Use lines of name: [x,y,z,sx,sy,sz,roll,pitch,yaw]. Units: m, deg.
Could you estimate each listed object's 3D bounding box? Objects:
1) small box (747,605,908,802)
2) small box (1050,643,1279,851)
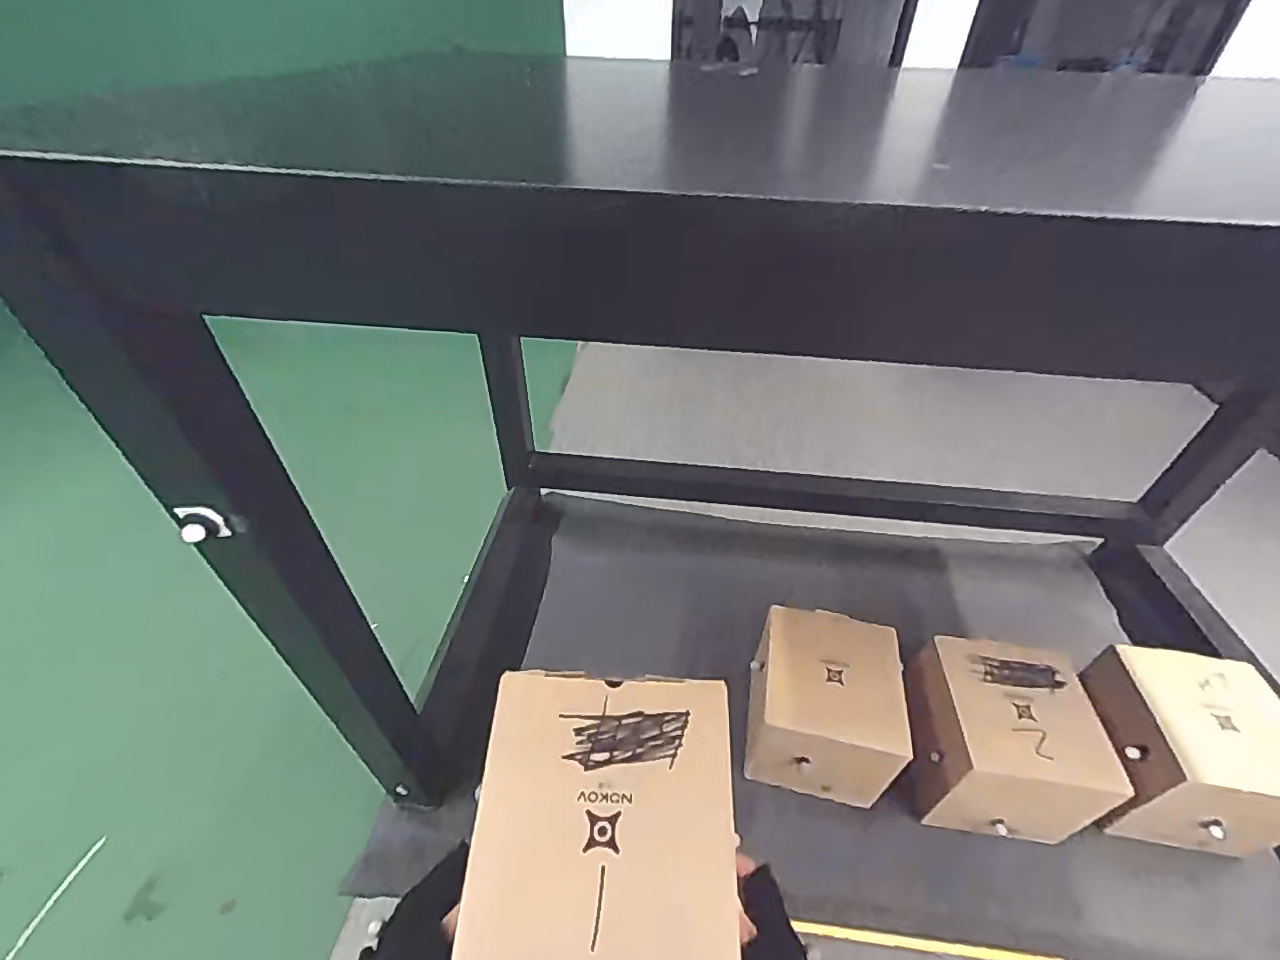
small box: [0.241,0.301,0.729,0.168,0.176,0.179,9,41,9]
small box: [0.679,0.341,0.690,0.168,0.176,0.179,7,41,7]
